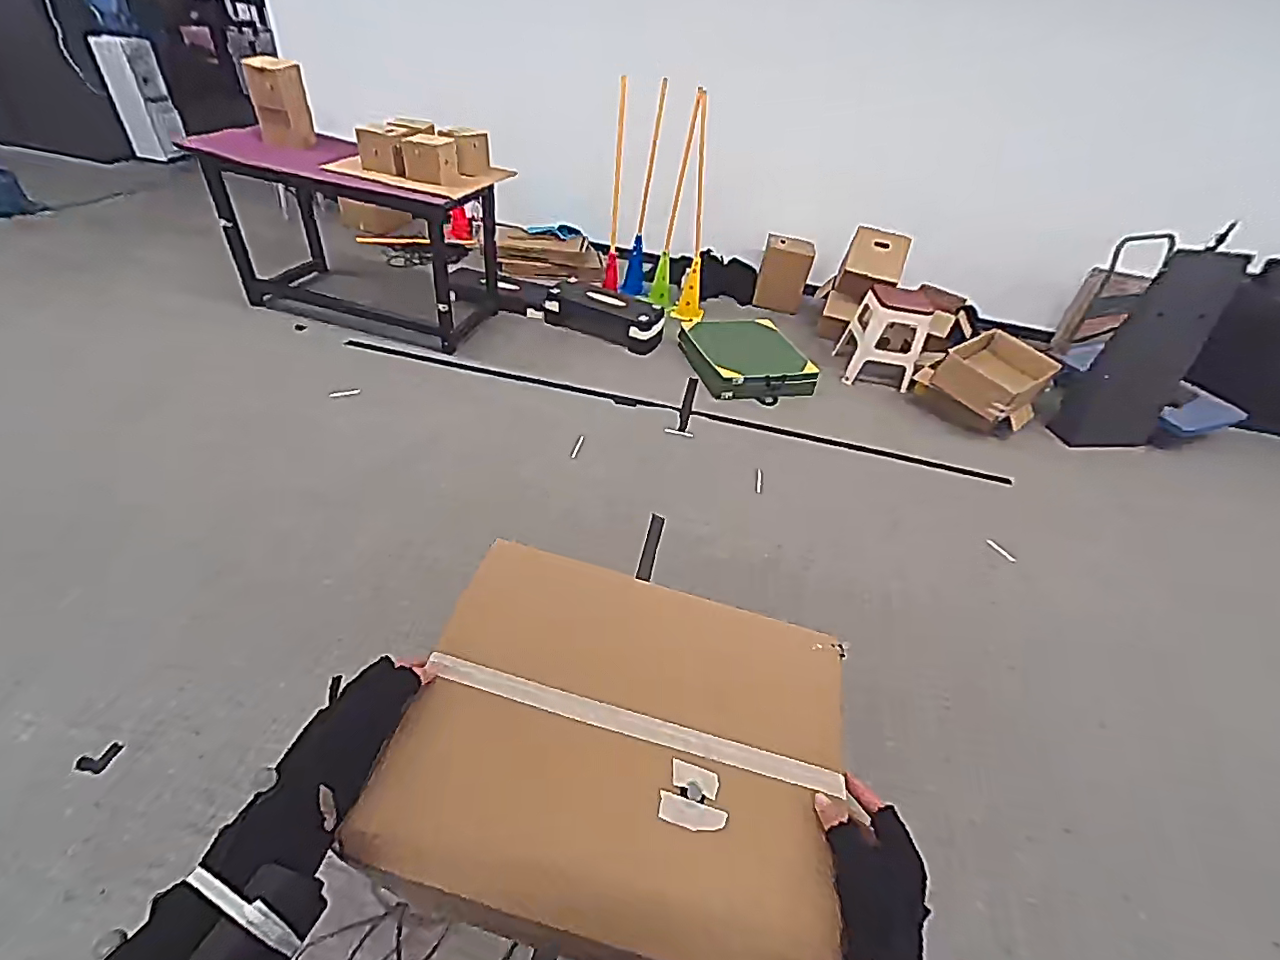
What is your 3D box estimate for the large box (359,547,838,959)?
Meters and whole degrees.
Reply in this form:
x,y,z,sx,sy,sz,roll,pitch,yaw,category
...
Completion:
x,y,z,sx,sy,sz,roll,pitch,yaw,category
-0.029,0.333,0.634,0.408,0.320,0.320,16,47,3,large box
